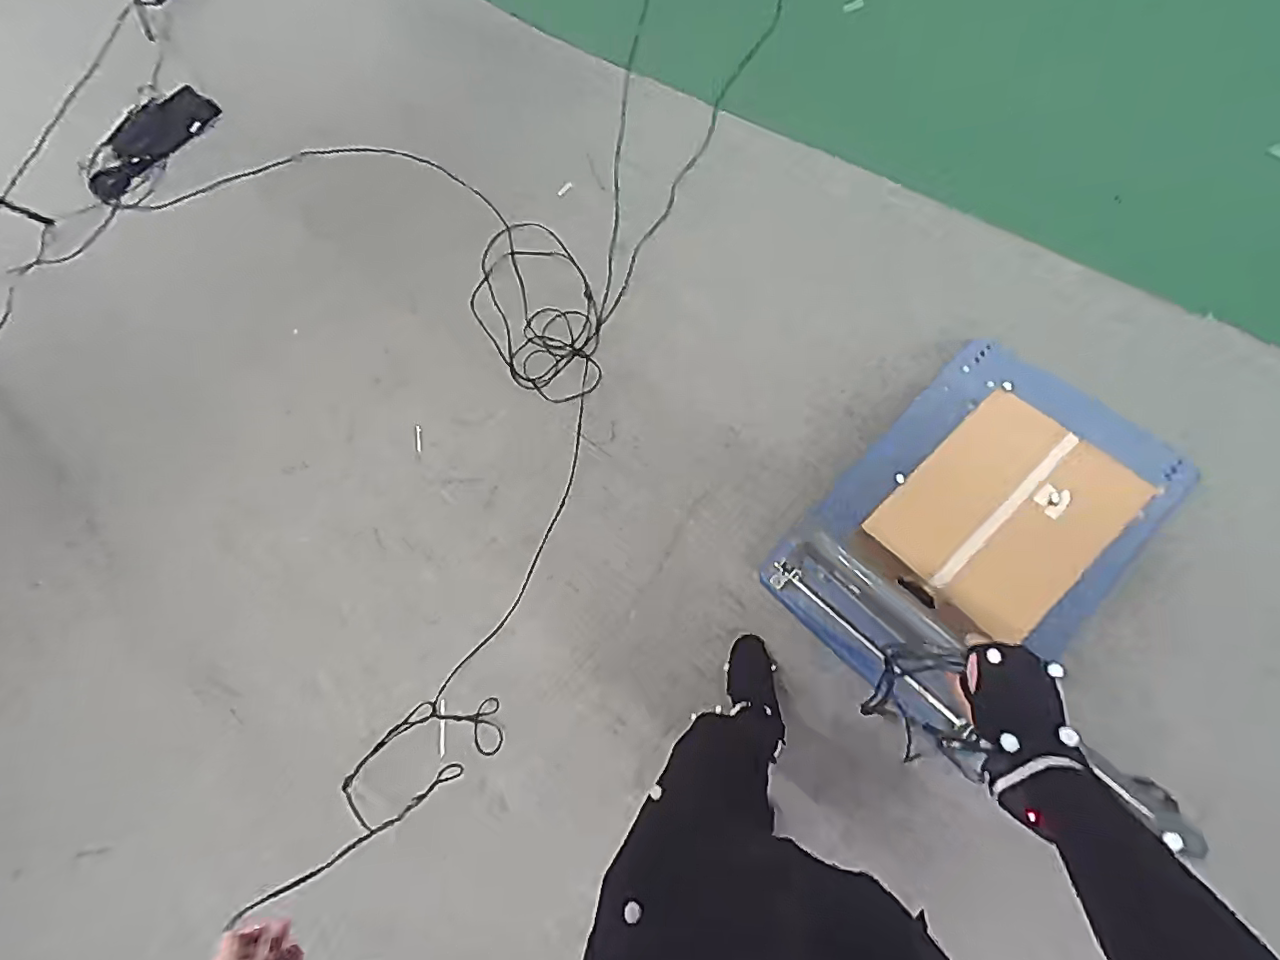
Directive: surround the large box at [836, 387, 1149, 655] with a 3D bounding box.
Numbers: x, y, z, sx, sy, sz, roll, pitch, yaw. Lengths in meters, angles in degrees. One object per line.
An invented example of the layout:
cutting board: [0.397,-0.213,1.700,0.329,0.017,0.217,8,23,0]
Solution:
large box: [0.675,0.101,1.111,0.408,0.320,0.320,-43,71,-7]
